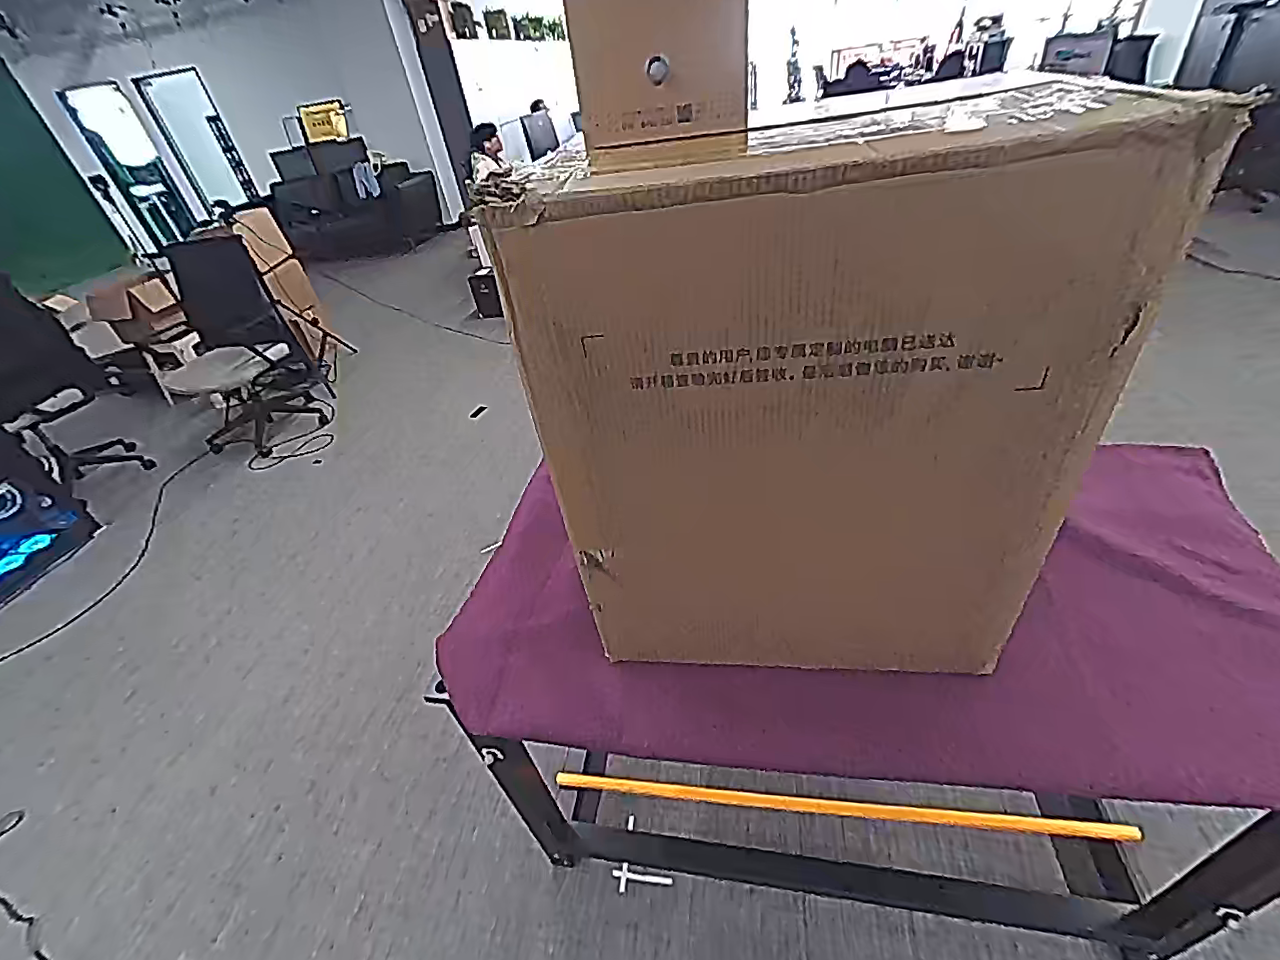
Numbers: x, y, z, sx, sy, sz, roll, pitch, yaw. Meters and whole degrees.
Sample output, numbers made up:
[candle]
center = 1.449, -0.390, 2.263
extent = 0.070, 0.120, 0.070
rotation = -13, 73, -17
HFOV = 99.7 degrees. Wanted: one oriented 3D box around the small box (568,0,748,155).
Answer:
[small box]
center = 0.027, -0.452, 0.566
extent = 0.168, 0.176, 0.179
rotation = -1, 38, 11
